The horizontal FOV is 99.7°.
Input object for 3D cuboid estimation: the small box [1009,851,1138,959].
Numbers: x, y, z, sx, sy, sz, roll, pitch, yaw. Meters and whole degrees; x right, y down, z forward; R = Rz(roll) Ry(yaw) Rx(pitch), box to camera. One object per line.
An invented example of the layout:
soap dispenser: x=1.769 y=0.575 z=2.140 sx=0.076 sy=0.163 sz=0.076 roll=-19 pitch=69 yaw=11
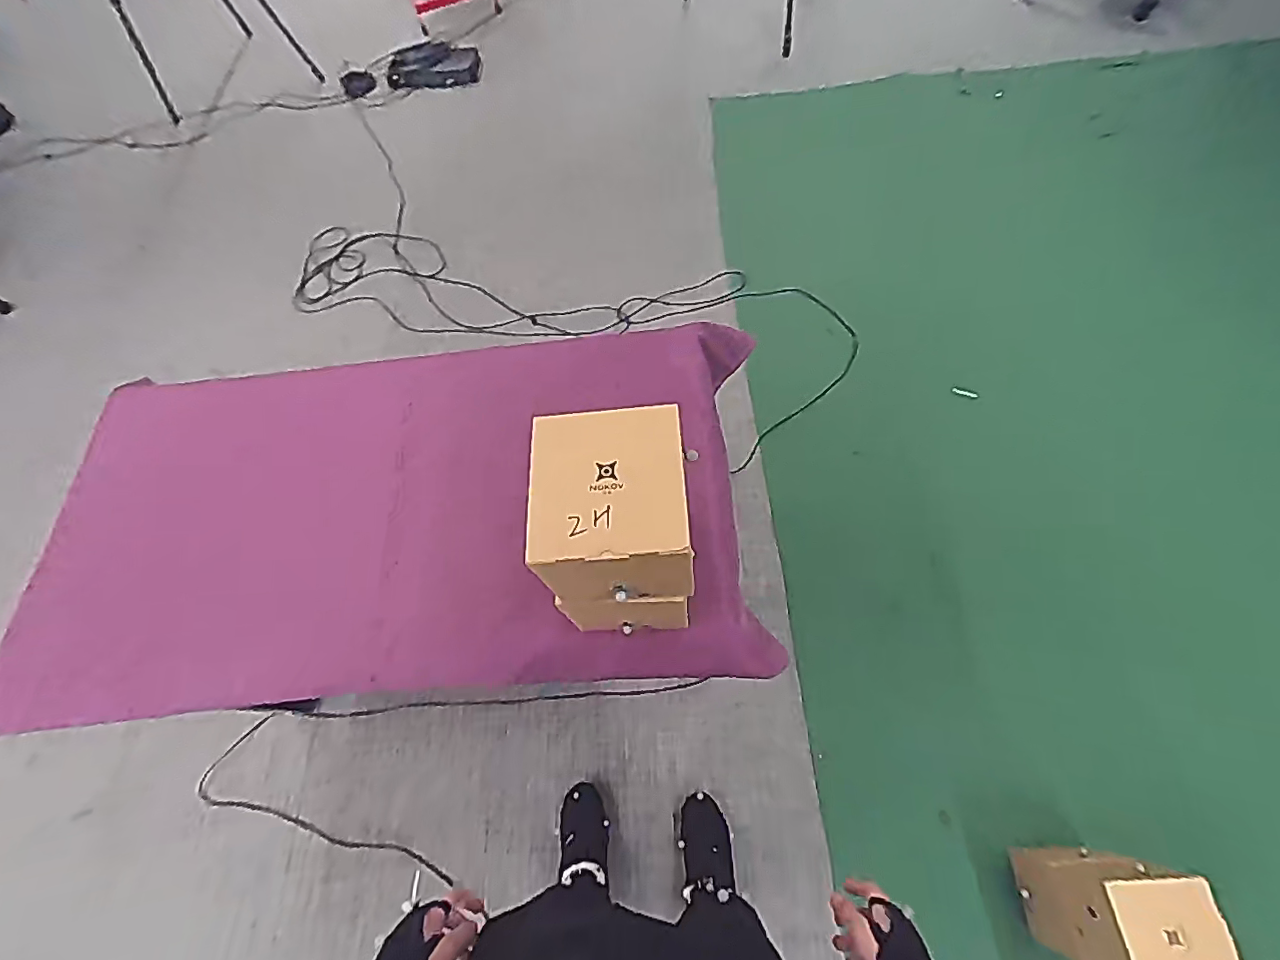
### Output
small box: x=0.923 y=0.887 z=1.126 sx=0.179 sy=0.176 sz=0.168 roll=-5 pitch=63 yaw=4

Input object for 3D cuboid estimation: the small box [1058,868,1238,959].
small box: x=0.910 y=0.818 z=0.981 sx=0.179 sy=0.176 sz=0.168 roll=-4 pitch=63 yaw=2

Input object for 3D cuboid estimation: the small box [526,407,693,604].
small box: x=-0.026 y=0.037 z=0.637 sx=0.168 sy=0.176 sz=0.179 roll=-4 pitch=63 yaw=5
